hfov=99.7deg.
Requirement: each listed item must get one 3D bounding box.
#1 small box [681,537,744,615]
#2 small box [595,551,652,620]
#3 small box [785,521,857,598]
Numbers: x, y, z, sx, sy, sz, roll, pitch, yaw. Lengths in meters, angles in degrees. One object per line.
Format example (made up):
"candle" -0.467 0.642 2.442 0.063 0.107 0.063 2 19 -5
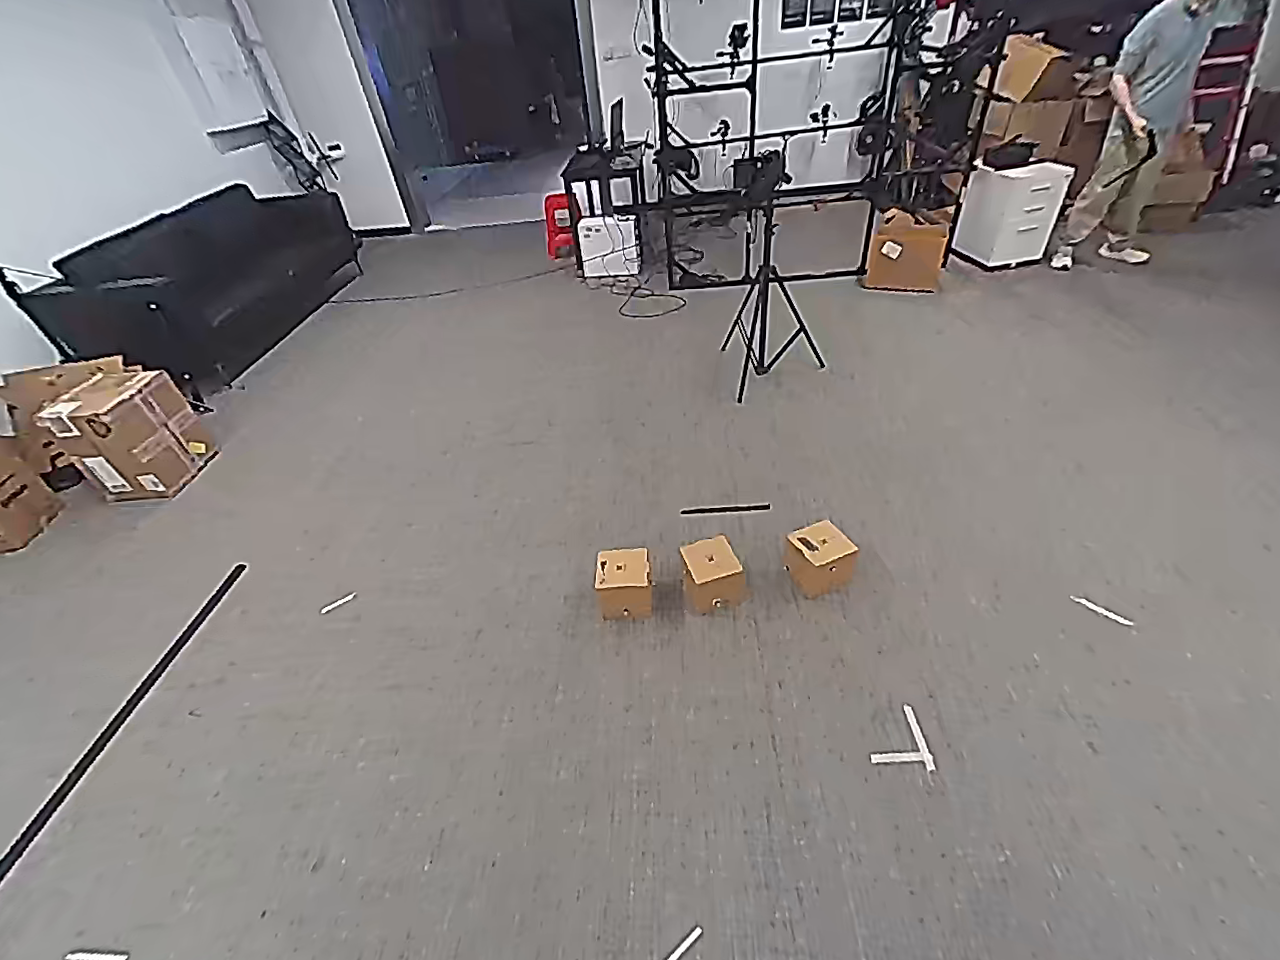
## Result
"small box" 0.245 0.329 1.857 0.168 0.176 0.179 -16 41 -8
"small box" -0.050 0.364 1.861 0.179 0.176 0.168 -4 39 5
"small box" 0.616 0.276 1.862 0.179 0.176 0.168 -18 41 -15
